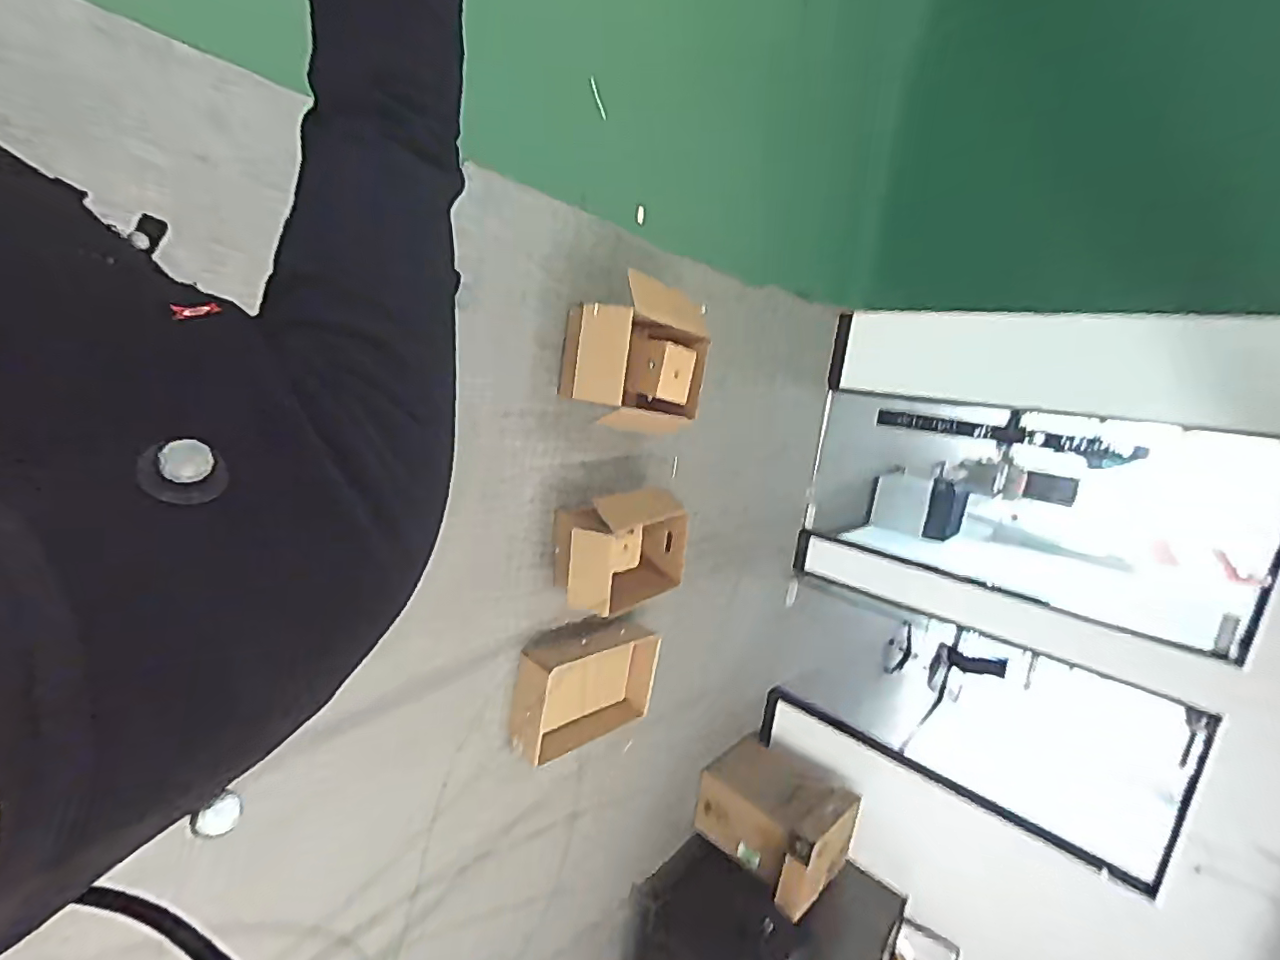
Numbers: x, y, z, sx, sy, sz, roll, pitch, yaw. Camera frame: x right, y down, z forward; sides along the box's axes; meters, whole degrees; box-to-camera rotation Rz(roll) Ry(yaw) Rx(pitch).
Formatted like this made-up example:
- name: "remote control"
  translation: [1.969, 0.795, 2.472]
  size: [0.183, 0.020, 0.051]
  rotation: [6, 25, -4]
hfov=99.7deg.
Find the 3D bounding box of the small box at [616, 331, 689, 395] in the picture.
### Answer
- name: "small box"
  translation: [0.038, -0.396, 1.831]
  size: [0.168, 0.176, 0.179]
  rotation: [2, 102, -50]
